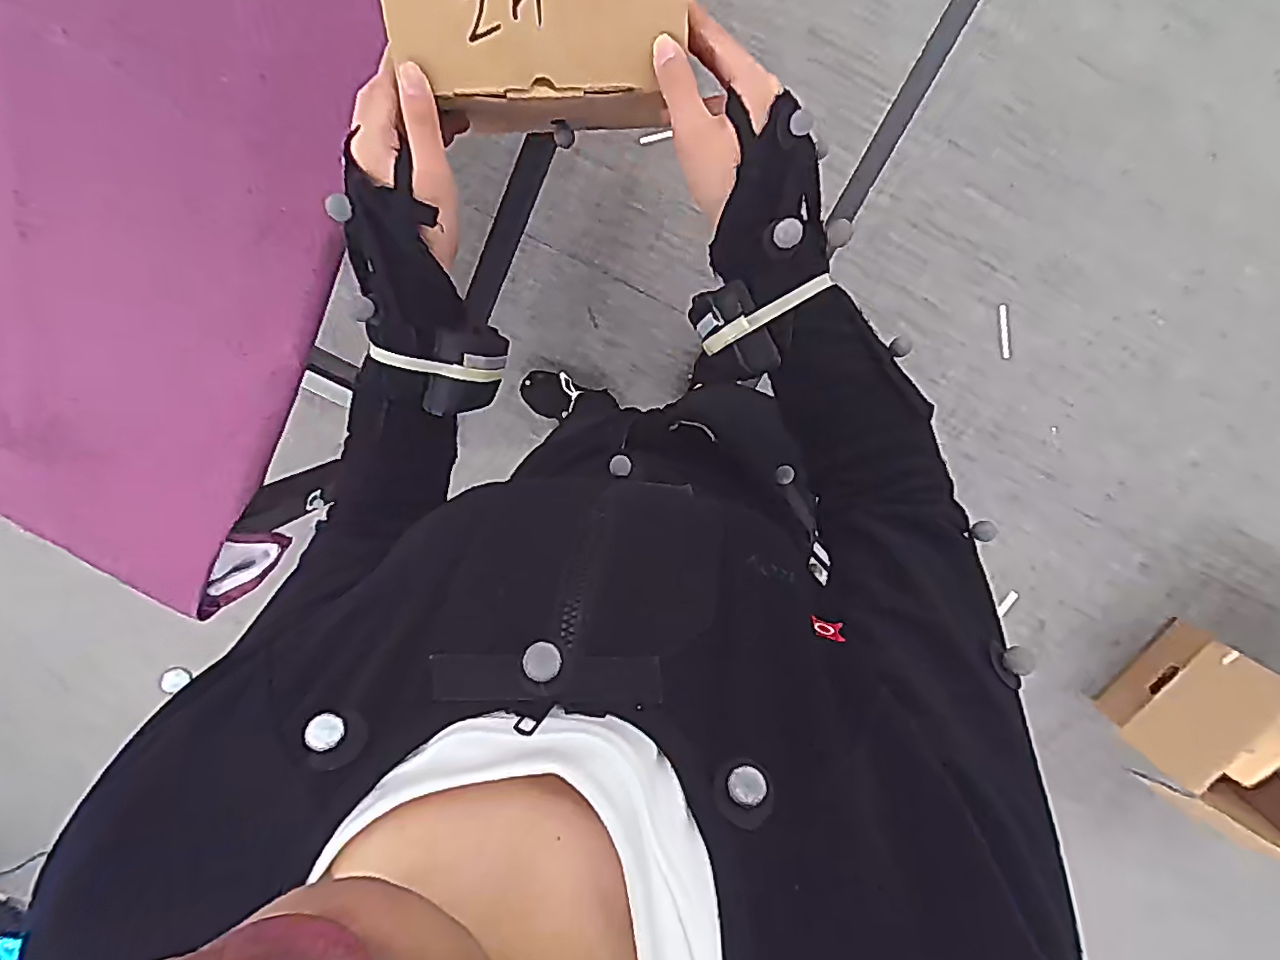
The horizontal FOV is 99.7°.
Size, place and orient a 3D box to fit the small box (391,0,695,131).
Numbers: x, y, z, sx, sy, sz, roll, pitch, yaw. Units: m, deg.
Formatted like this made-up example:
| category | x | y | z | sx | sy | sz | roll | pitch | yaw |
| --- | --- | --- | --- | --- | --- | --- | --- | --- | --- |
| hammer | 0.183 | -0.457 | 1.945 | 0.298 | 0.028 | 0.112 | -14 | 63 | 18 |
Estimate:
| category | x | y | z | sx | sy | sz | roll | pitch | yaw |
| --- | --- | --- | --- | --- | --- | --- | --- | --- | --- |
| small box | -0.055 | -0.338 | 0.343 | 0.168 | 0.176 | 0.179 | -1 | 116 | 0 |
